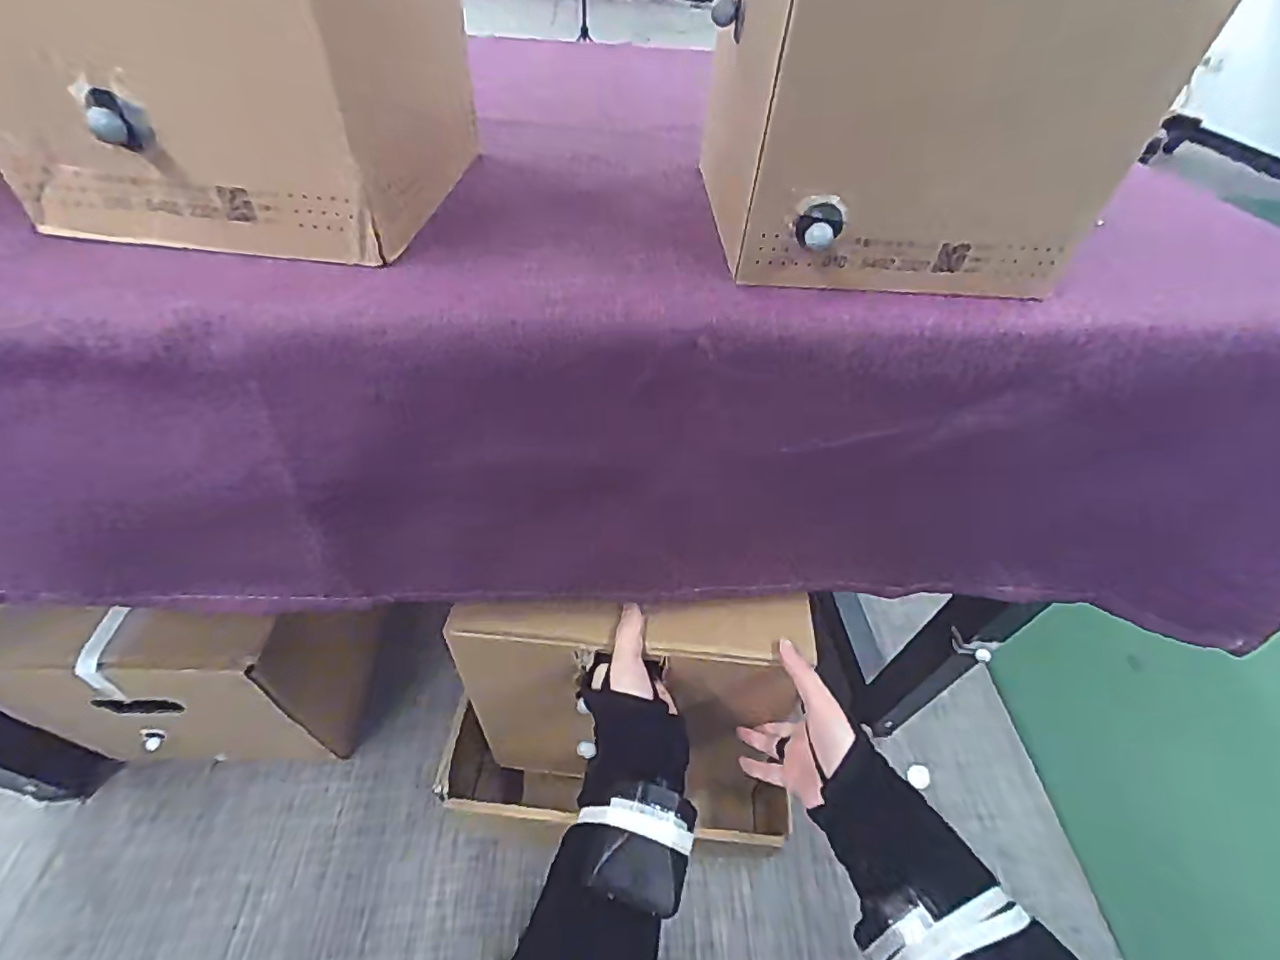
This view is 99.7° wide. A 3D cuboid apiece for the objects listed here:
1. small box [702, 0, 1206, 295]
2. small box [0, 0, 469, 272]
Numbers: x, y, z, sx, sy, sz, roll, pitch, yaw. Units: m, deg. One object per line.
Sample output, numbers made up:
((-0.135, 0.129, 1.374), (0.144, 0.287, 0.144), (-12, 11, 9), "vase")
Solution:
((0.129, -0.210, 0.273), (0.168, 0.176, 0.179), (2, 47, -4), "small box")
((-0.191, -0.225, 0.258), (0.168, 0.176, 0.179), (5, 49, -1), "small box")
